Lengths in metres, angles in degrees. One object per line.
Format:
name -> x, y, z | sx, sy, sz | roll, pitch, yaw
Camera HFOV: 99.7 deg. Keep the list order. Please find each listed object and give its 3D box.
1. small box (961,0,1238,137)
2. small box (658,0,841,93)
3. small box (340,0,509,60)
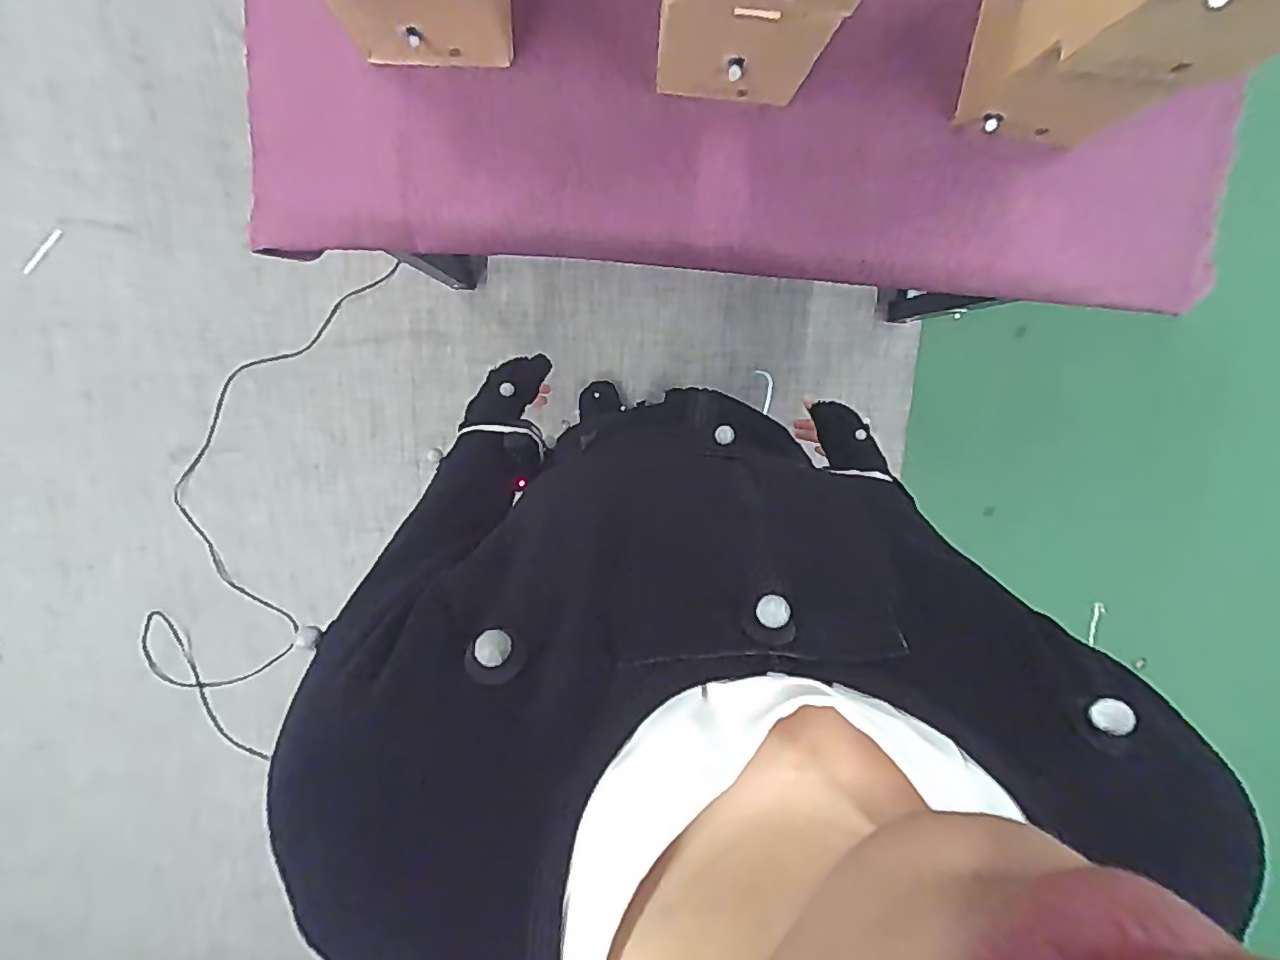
small box -> 0.483, -0.504, 0.579 | 0.168, 0.176, 0.179 | 8, 100, -4
small box -> 0.107, -0.535, 0.558 | 0.168, 0.176, 0.179 | 1, 101, -1
small box -> -0.228, -0.563, 0.534 | 0.168, 0.176, 0.179 | -1, 102, -3
